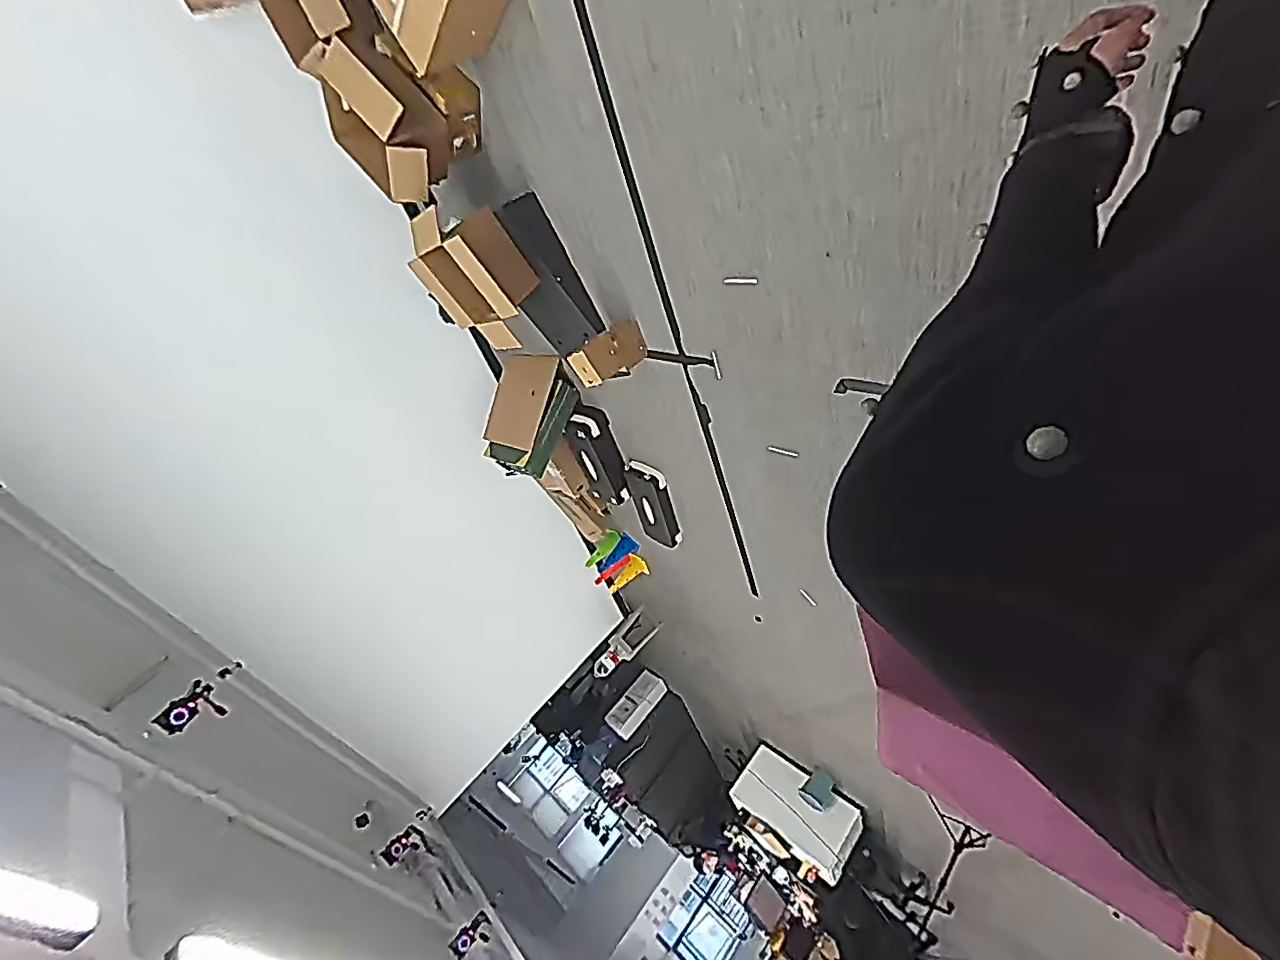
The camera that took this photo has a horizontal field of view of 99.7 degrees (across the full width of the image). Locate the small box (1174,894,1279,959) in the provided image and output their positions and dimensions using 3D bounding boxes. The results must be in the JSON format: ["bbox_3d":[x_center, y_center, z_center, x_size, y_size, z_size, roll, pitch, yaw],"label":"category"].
[{"bbox_3d":[1.375,1.104,1.244,0.168,0.176,0.179,23,145,40],"label":"small box"}]
